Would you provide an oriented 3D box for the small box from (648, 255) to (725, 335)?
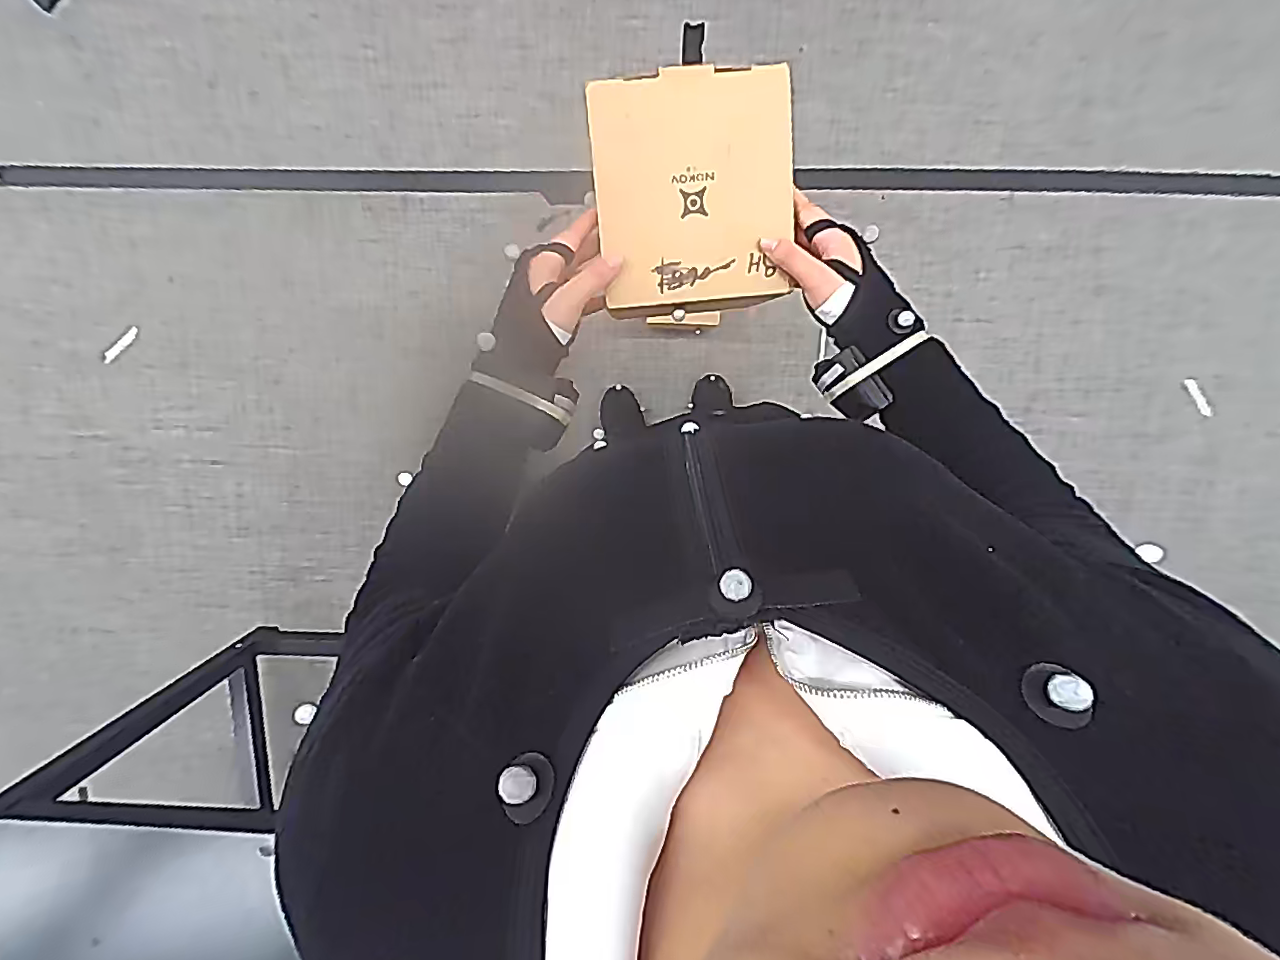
[{"bbox_3d":[0.109,-0.451,1.336,0.179,0.176,0.168,1,100,2],"label":"small box"}]
